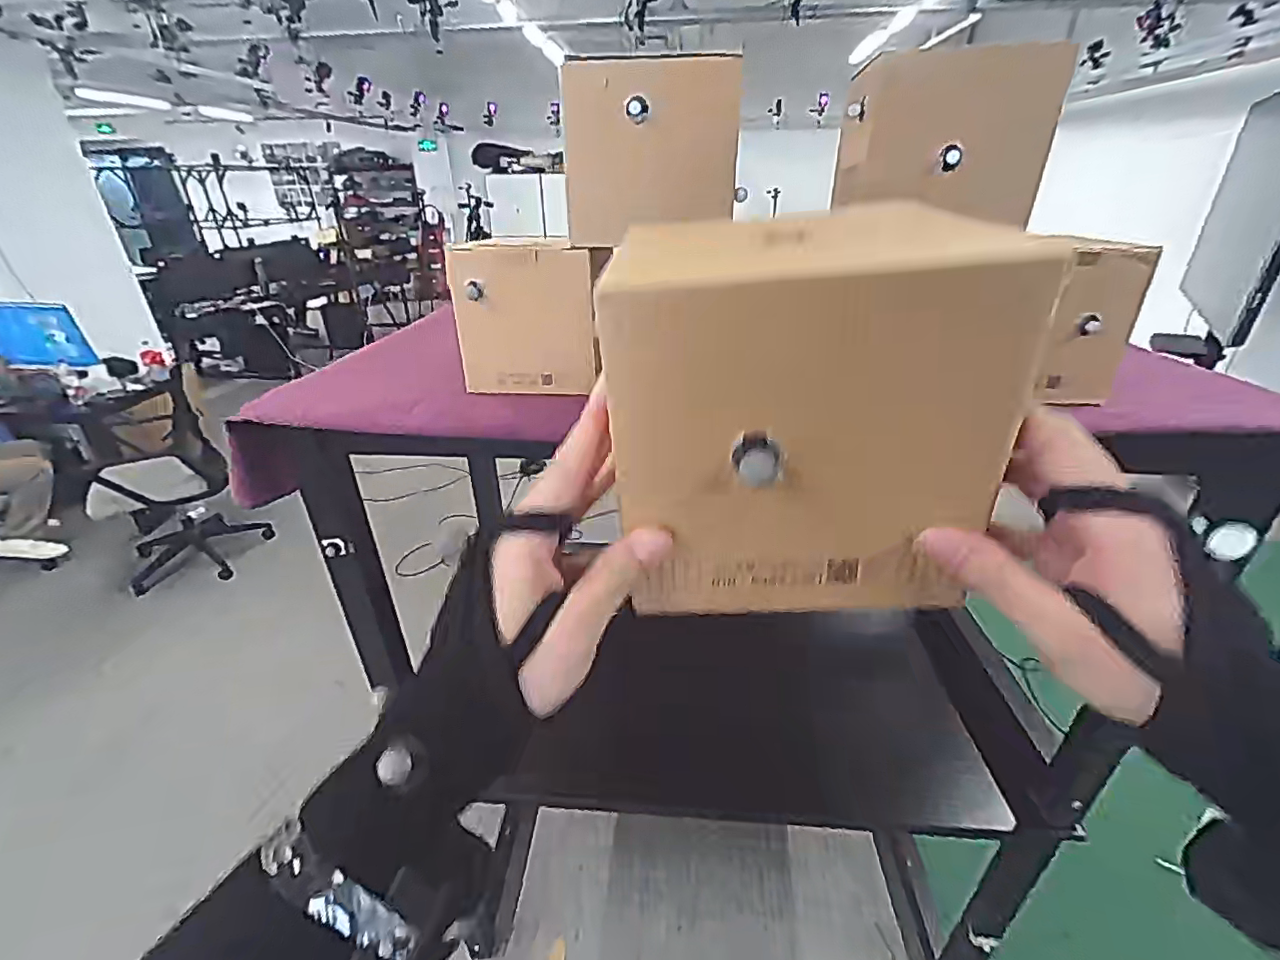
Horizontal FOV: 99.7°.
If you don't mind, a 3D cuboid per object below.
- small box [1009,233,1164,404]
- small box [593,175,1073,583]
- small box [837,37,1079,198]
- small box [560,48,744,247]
[{"bbox_3d":[0.446,-0.195,0.644,0.168,0.176,0.179,4,27,9],"label":"small box"},{"bbox_3d":[0.077,-0.057,0.297,0.168,0.176,0.179,-3,32,6],"label":"small box"},{"bbox_3d":[0.313,-0.347,0.583,0.168,0.176,0.179,4,28,8],"label":"small box"},{"bbox_3d":[0.020,-0.355,0.605,0.179,0.176,0.168,3,28,6],"label":"small box"}]
